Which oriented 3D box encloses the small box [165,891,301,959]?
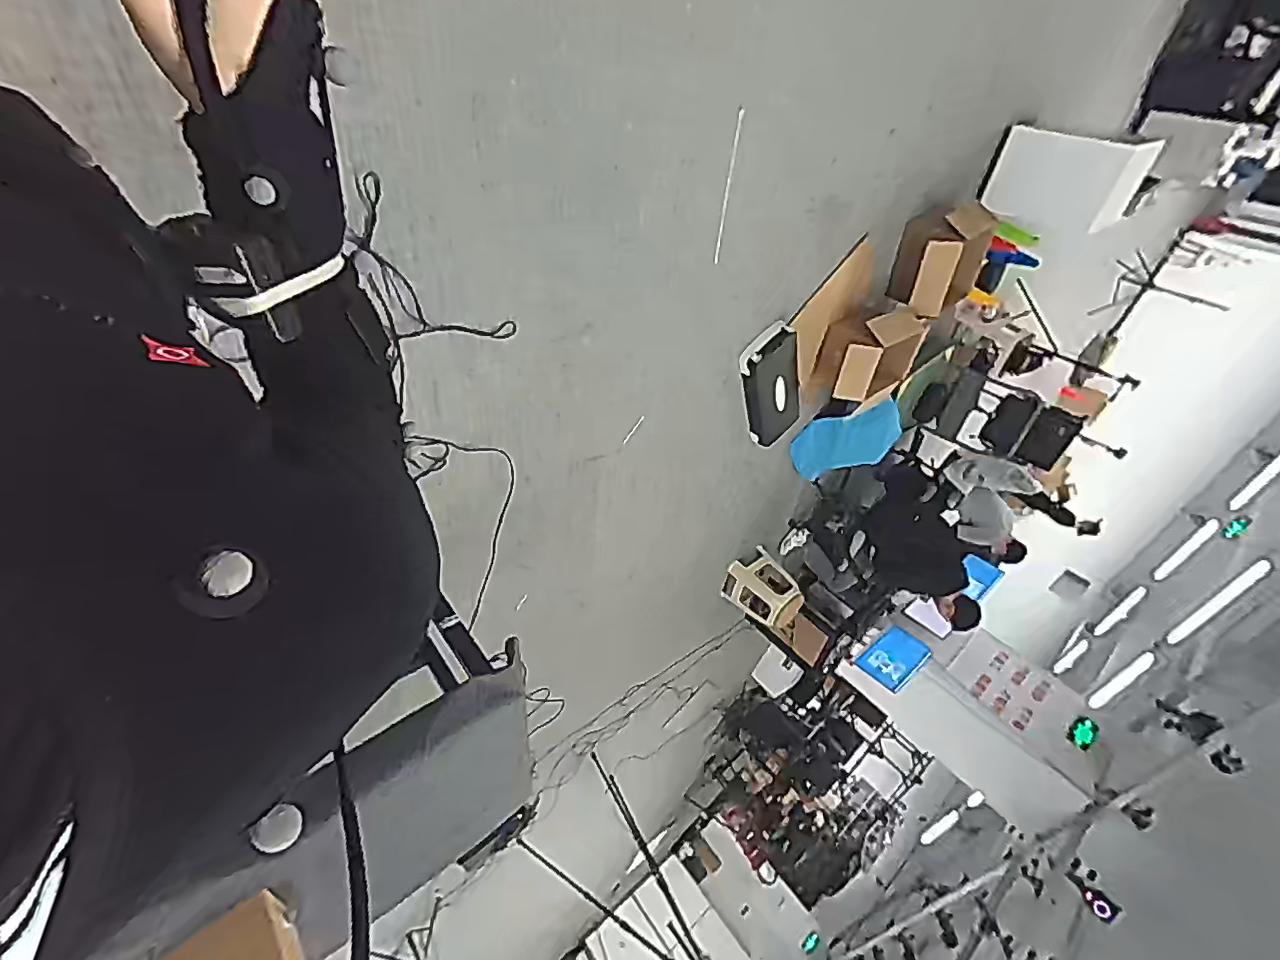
[{"bbox_3d":[-0.727,0.898,0.968,0.179,0.176,0.168,-26,141,-34],"label":"small box"}]
